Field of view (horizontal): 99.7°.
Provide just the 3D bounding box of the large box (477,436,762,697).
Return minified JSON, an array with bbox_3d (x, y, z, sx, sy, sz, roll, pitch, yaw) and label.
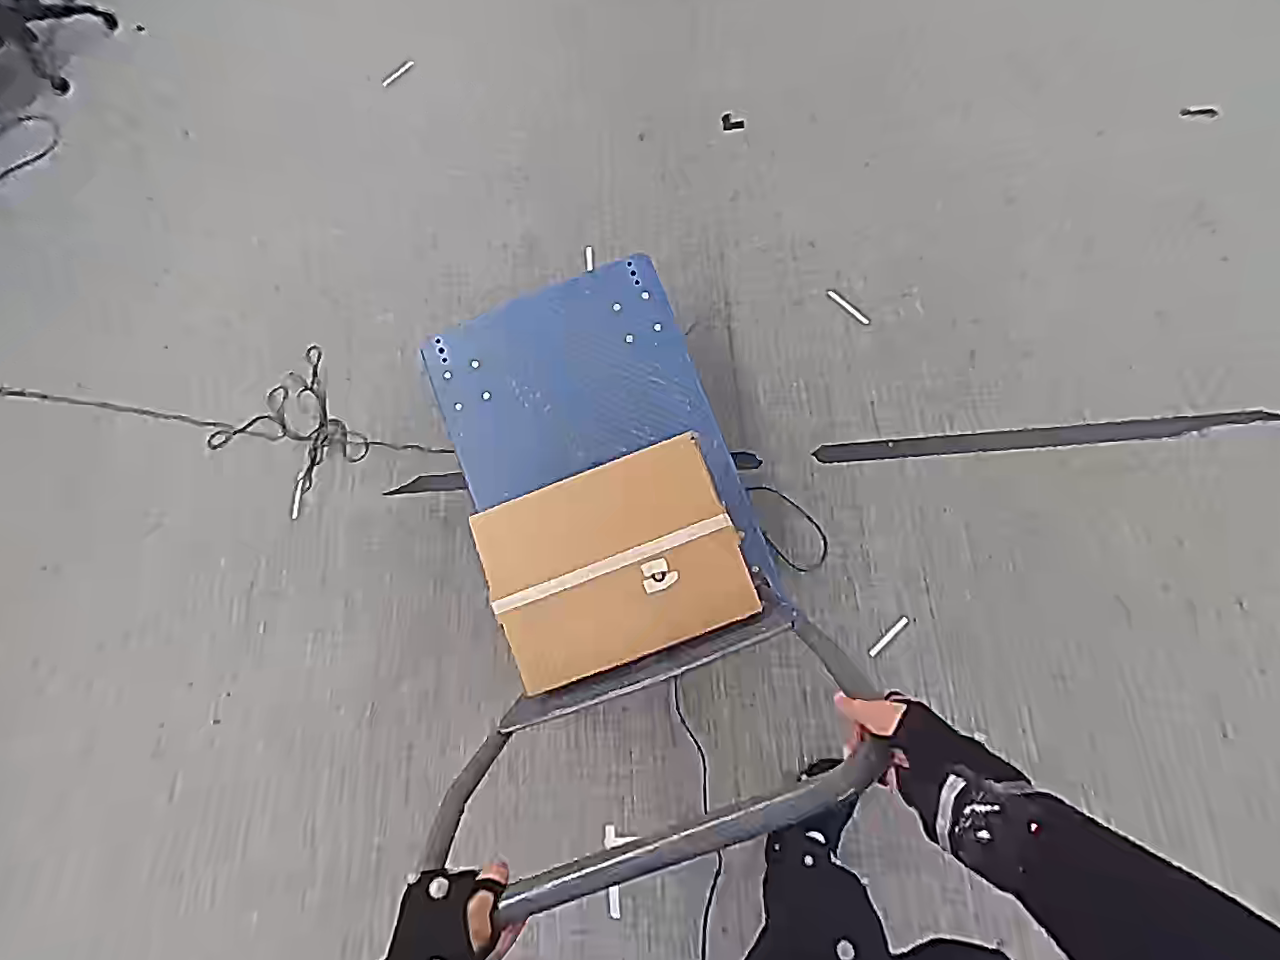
[{"bbox_3d":[-0.031,0.156,1.035,0.408,0.320,0.320,-22,84,1],"label":"large box"}]
